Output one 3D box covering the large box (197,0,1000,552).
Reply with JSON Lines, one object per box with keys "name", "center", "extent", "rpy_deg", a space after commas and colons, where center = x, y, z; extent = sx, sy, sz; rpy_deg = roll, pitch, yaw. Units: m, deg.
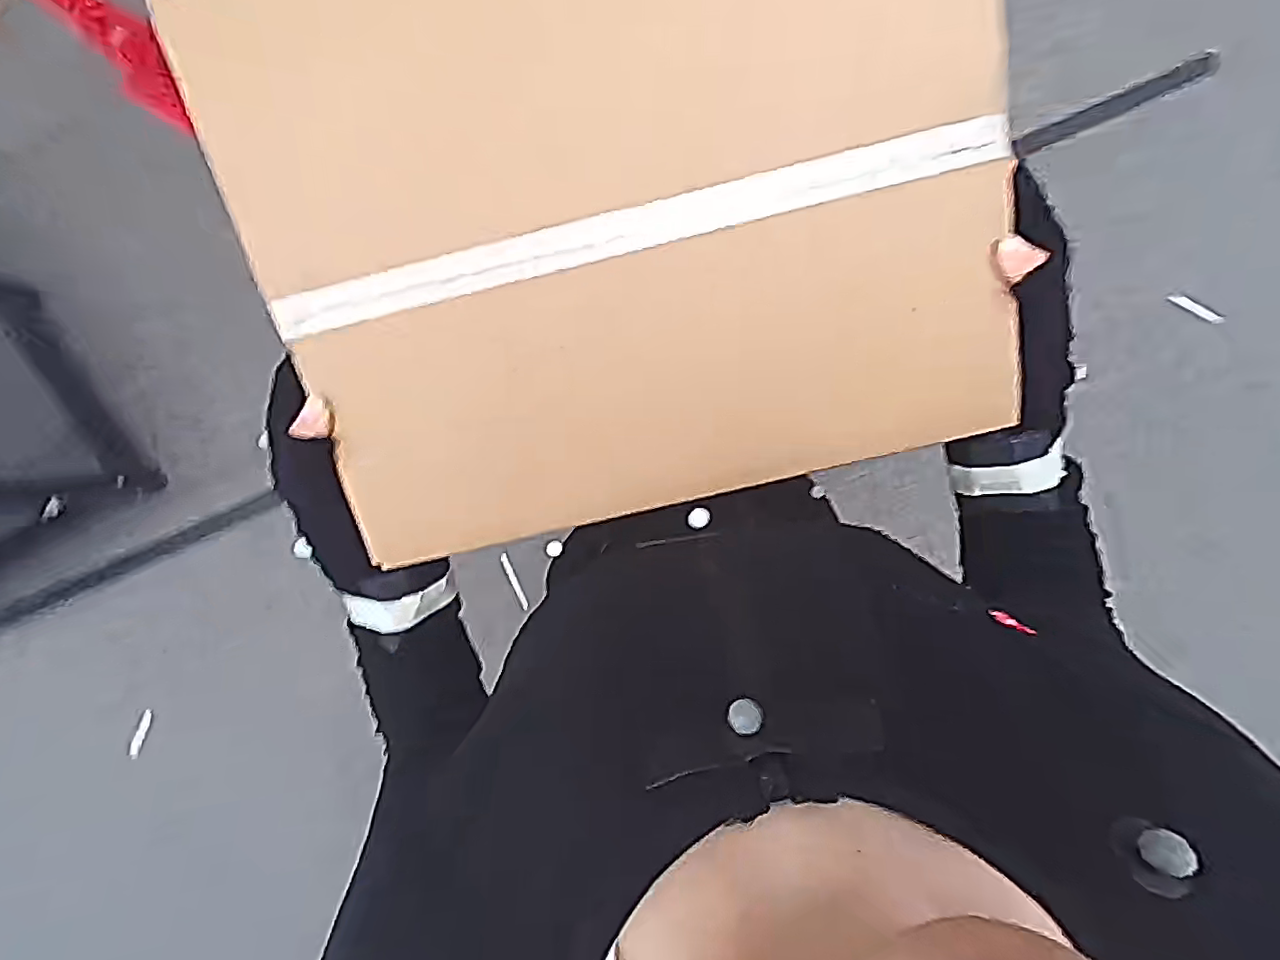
{"name": "large box", "center": [-0.007, -0.177, 0.448], "extent": [0.408, 0.320, 0.320], "rpy_deg": [-13, 106, 2]}
